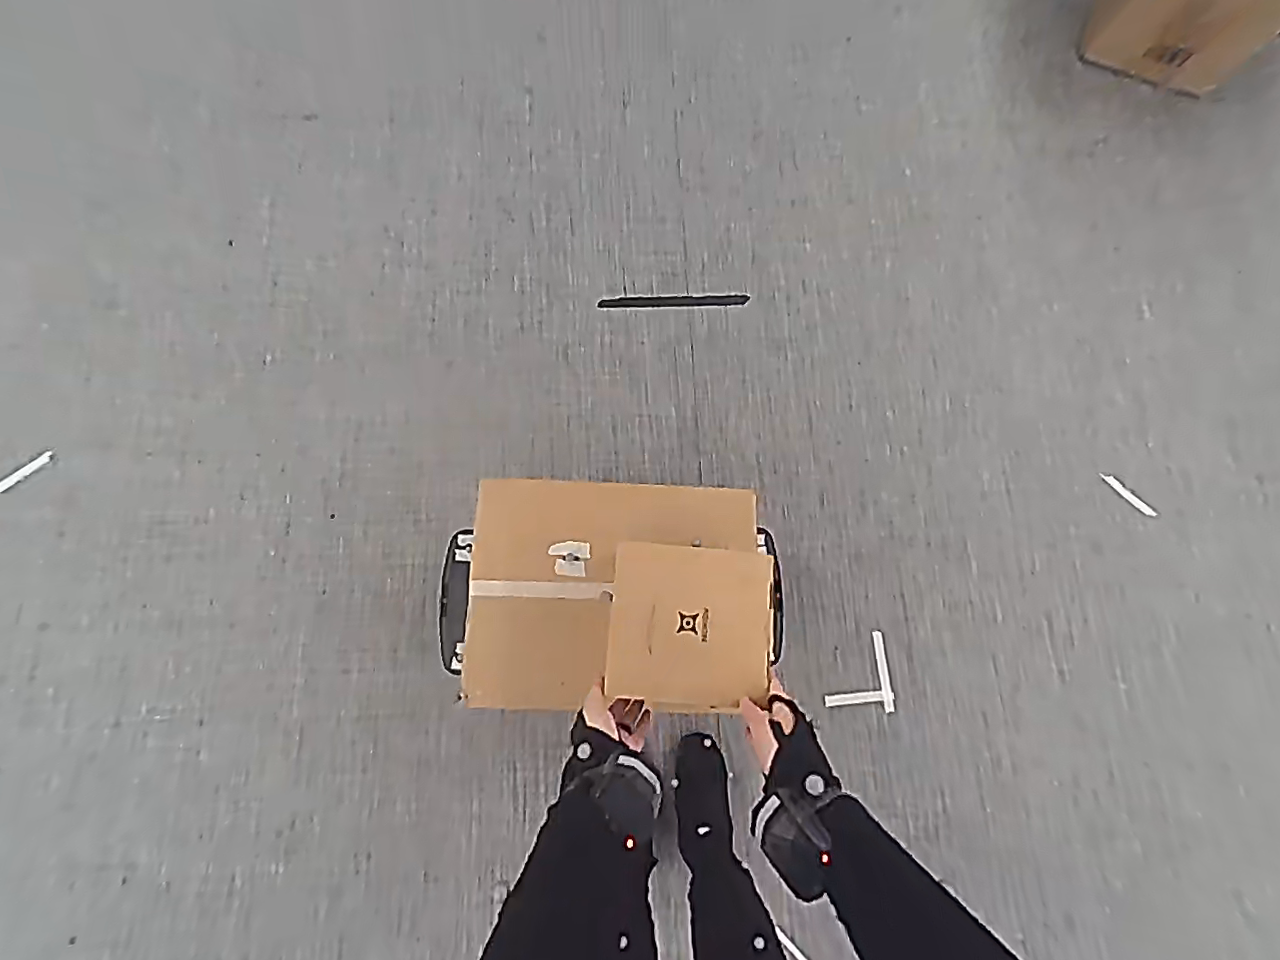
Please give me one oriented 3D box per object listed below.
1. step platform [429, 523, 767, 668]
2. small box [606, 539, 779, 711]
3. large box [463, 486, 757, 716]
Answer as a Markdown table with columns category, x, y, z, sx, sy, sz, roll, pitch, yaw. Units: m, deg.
| category | x | y | z | sx | sy | sz | roll | pitch | yaw |
| --- | --- | --- | --- | --- | --- | --- | --- | --- | --- |
| step platform | -0.071 | 0.257 | 1.122 | 0.684 | 0.204 | 0.286 | 4 | 77 | -1 |
| small box | 0.055 | 0.168 | 0.653 | 0.179 | 0.176 | 0.168 | 6 | 78 | -2 |
| large box | -0.038 | 0.193 | 0.894 | 0.408 | 0.320 | 0.320 | 2 | 76 | -2 |
